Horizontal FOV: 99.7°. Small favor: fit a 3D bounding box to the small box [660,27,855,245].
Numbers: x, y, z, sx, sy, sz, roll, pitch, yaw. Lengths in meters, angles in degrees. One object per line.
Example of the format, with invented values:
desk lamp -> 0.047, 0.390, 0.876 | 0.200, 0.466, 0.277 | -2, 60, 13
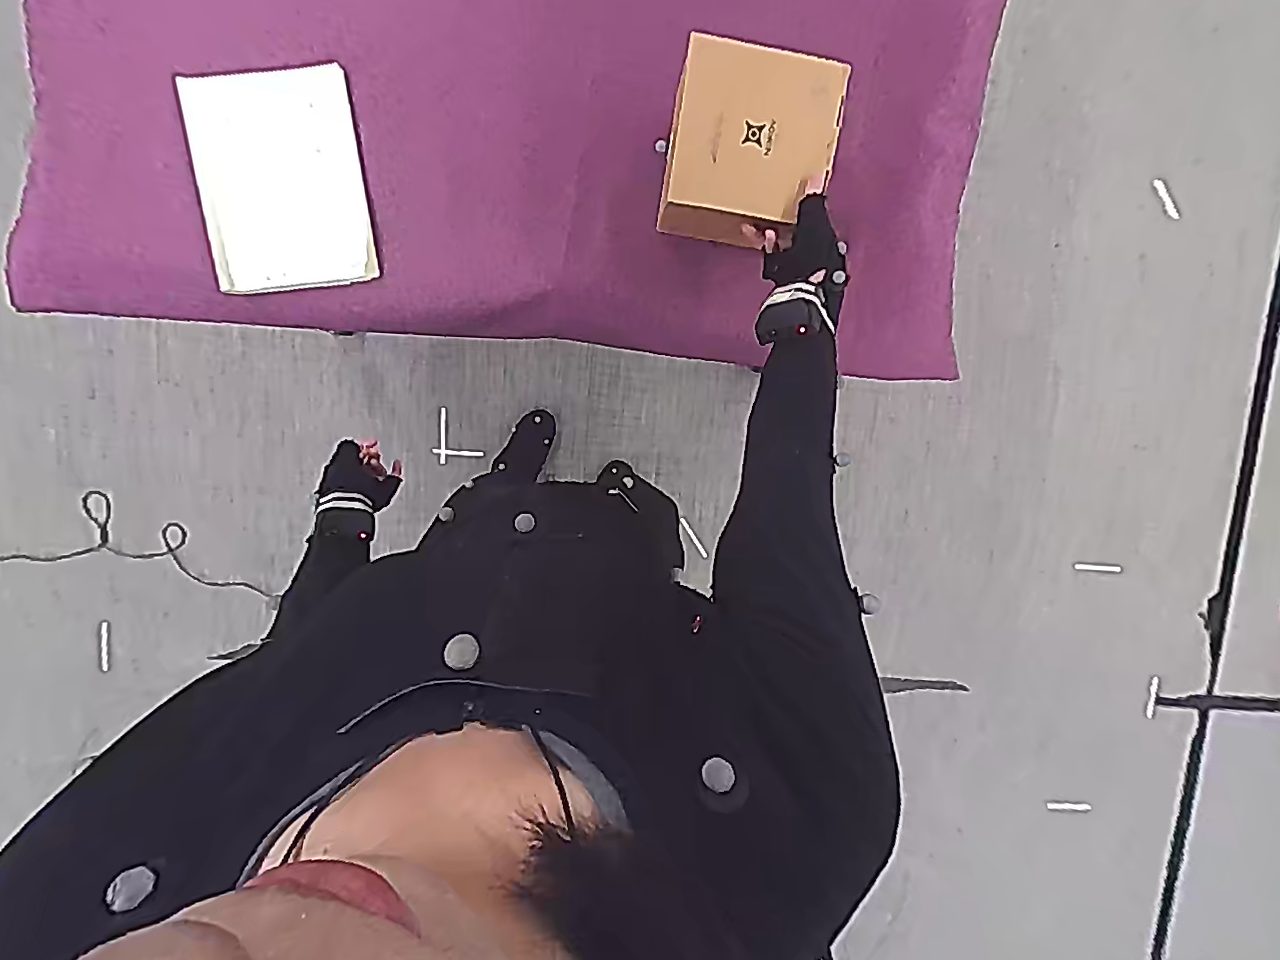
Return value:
small box -> 0.126, -0.394, 0.655 | 0.179, 0.176, 0.168 | 8, 103, -4
